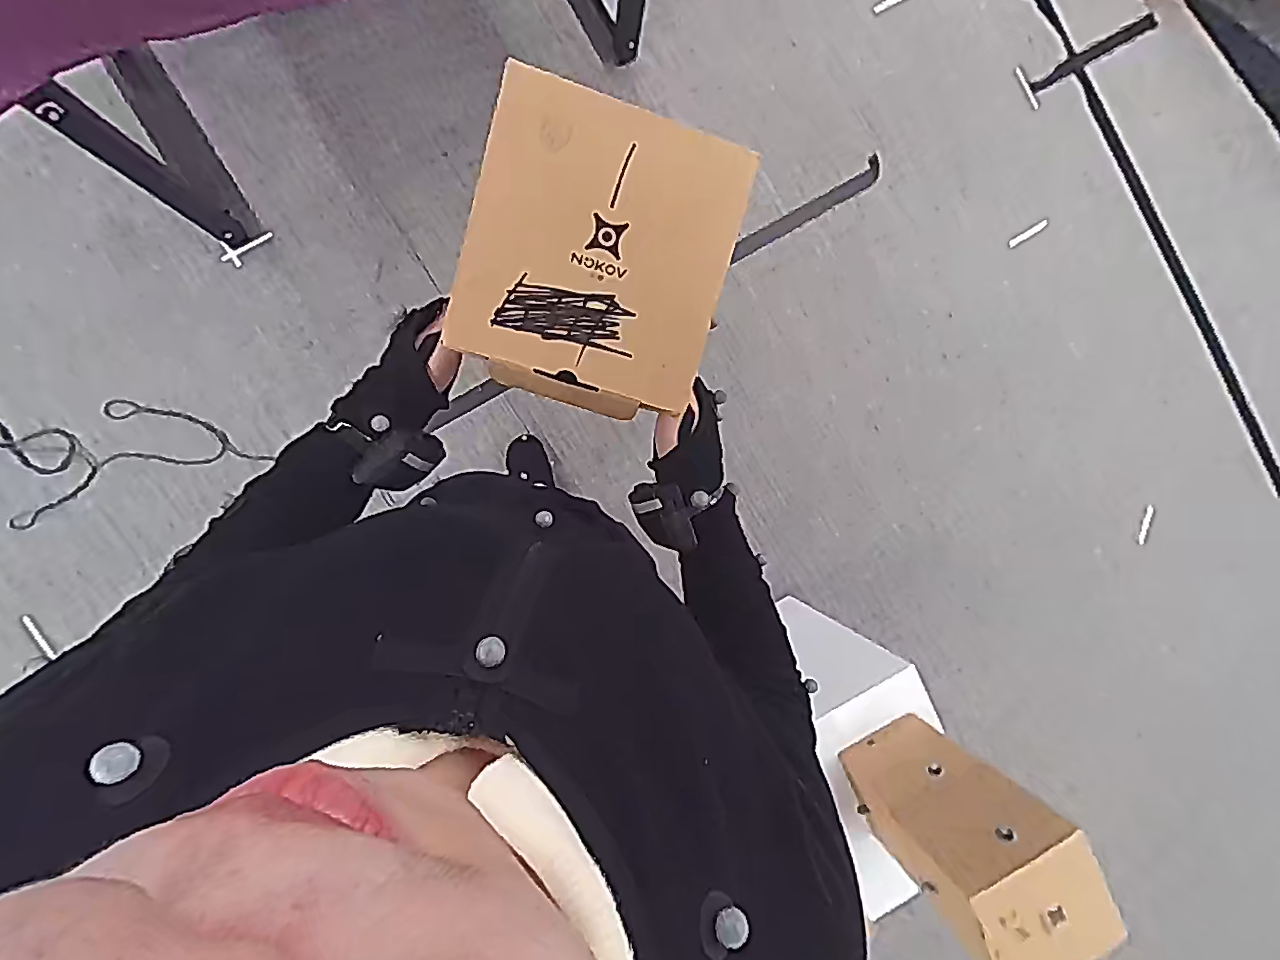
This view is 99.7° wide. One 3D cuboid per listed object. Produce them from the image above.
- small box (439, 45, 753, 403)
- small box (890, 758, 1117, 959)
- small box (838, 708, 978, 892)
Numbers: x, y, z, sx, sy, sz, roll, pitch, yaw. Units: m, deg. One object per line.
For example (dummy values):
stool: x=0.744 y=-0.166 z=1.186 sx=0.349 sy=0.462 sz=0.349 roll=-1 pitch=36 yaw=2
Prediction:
small box: x=-0.036 y=-0.169 z=0.421 sx=0.168 sy=0.176 sz=0.179 roll=15 pitch=98 yaw=-9
small box: x=0.496 y=0.534 z=0.760 sx=0.179 sy=0.176 sz=0.168 roll=-25 pitch=94 yaw=-6
small box: x=0.473 y=0.532 z=0.923 sx=0.168 sy=0.176 sz=0.179 roll=-25 pitch=96 yaw=-7
